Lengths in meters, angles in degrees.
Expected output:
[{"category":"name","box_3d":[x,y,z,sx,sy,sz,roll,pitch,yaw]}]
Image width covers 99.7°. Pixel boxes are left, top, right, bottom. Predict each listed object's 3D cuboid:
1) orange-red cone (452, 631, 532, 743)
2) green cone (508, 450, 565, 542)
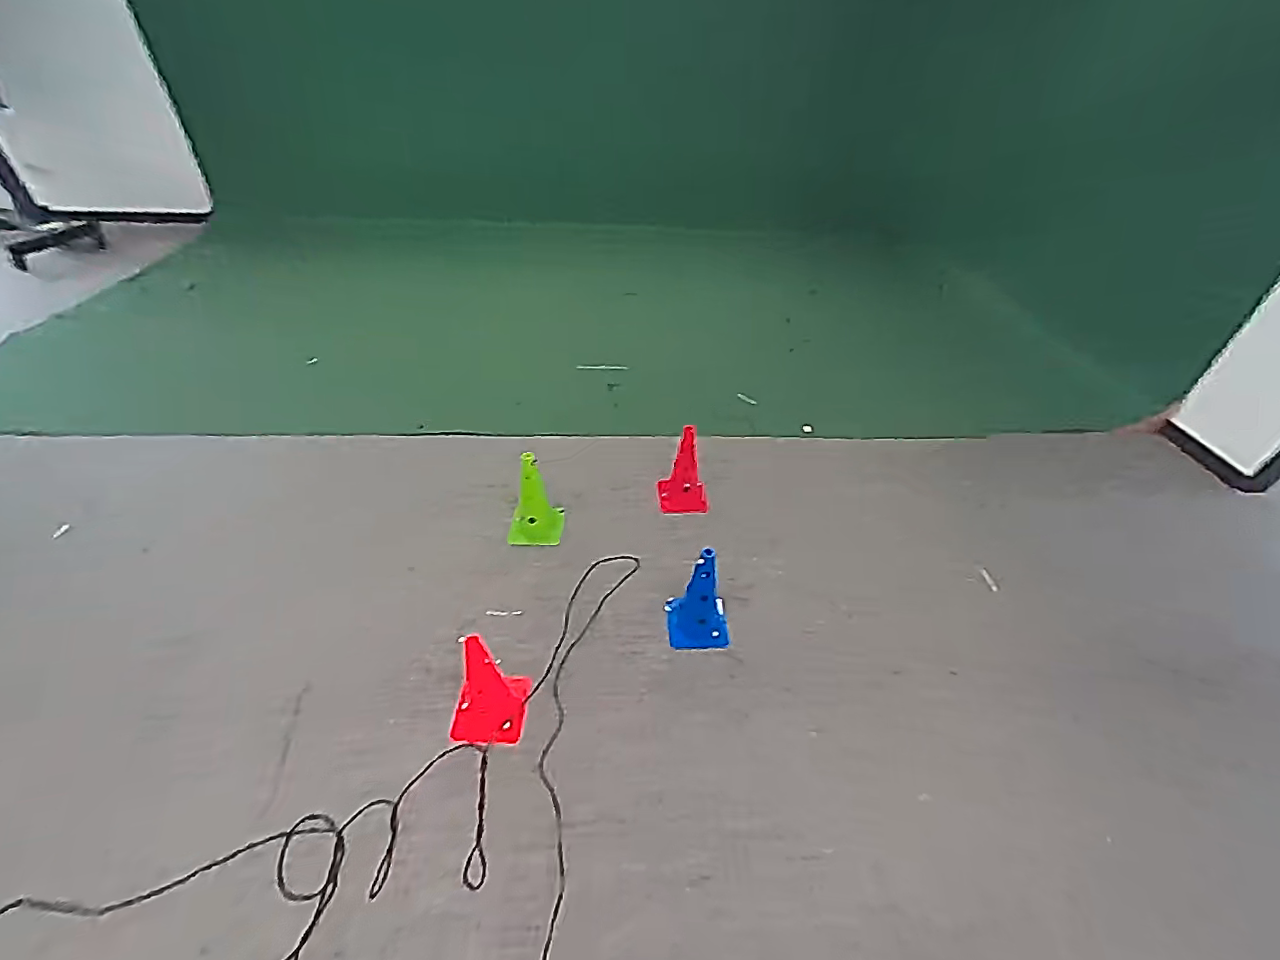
[{"category":"orange-red cone","box_3d":[-0.415,0.522,1.451,0.198,0.360,0.199,4,40,0]},{"category":"green cone","box_3d":[-0.398,0.039,2.000,0.200,0.368,0.202,1,42,-1]}]
